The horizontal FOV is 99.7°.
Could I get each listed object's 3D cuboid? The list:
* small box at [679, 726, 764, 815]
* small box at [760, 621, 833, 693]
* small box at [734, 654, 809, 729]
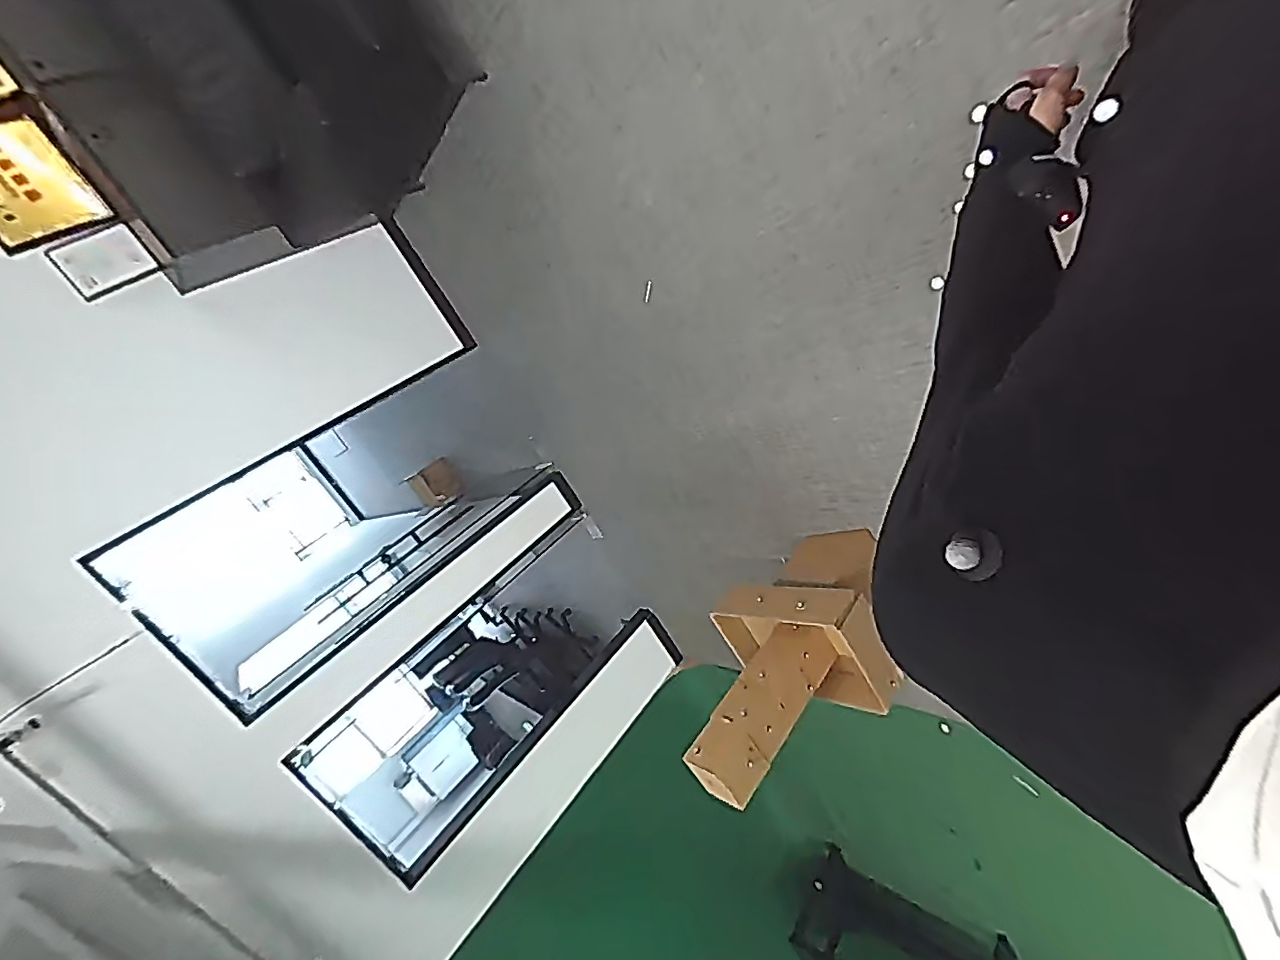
[{"bbox_3d":[0.269,0.939,1.767,0.168,0.176,0.179,56,149,-13],"label":"small box"},{"bbox_3d":[0.589,0.655,2.014,0.168,0.176,0.179,-13,113,56],"label":"small box"},{"bbox_3d":[0.479,0.746,1.933,0.179,0.176,0.168,-11,115,56],"label":"small box"}]
